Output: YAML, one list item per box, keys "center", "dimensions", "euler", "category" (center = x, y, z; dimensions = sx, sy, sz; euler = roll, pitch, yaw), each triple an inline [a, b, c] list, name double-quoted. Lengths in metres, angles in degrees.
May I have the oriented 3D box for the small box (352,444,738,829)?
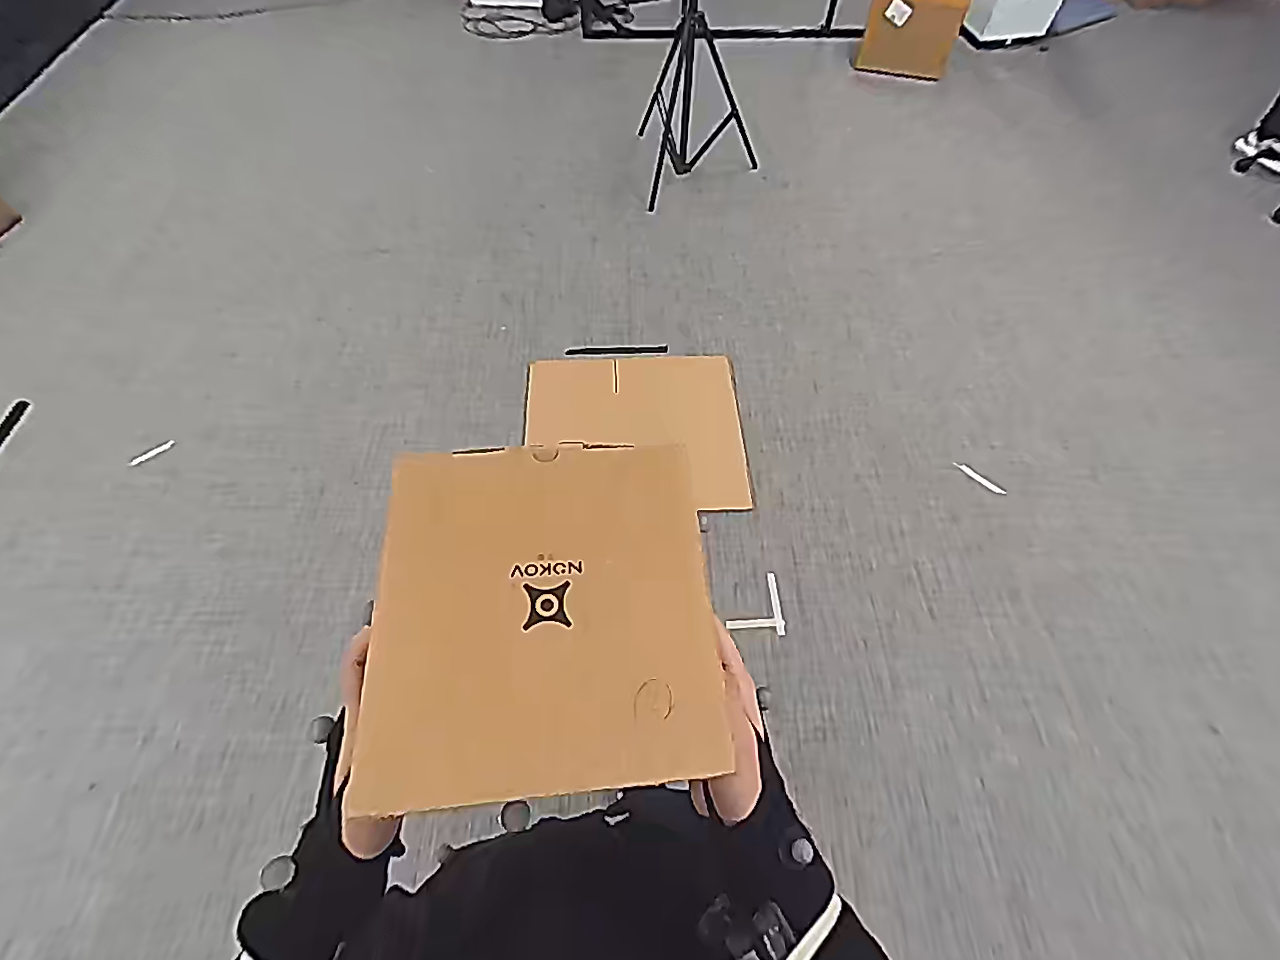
- center: [-0.051, 0.097, 0.335]
  dimensions: [0.168, 0.176, 0.179]
  euler: [-3, 61, -8]
  category: "small box"
